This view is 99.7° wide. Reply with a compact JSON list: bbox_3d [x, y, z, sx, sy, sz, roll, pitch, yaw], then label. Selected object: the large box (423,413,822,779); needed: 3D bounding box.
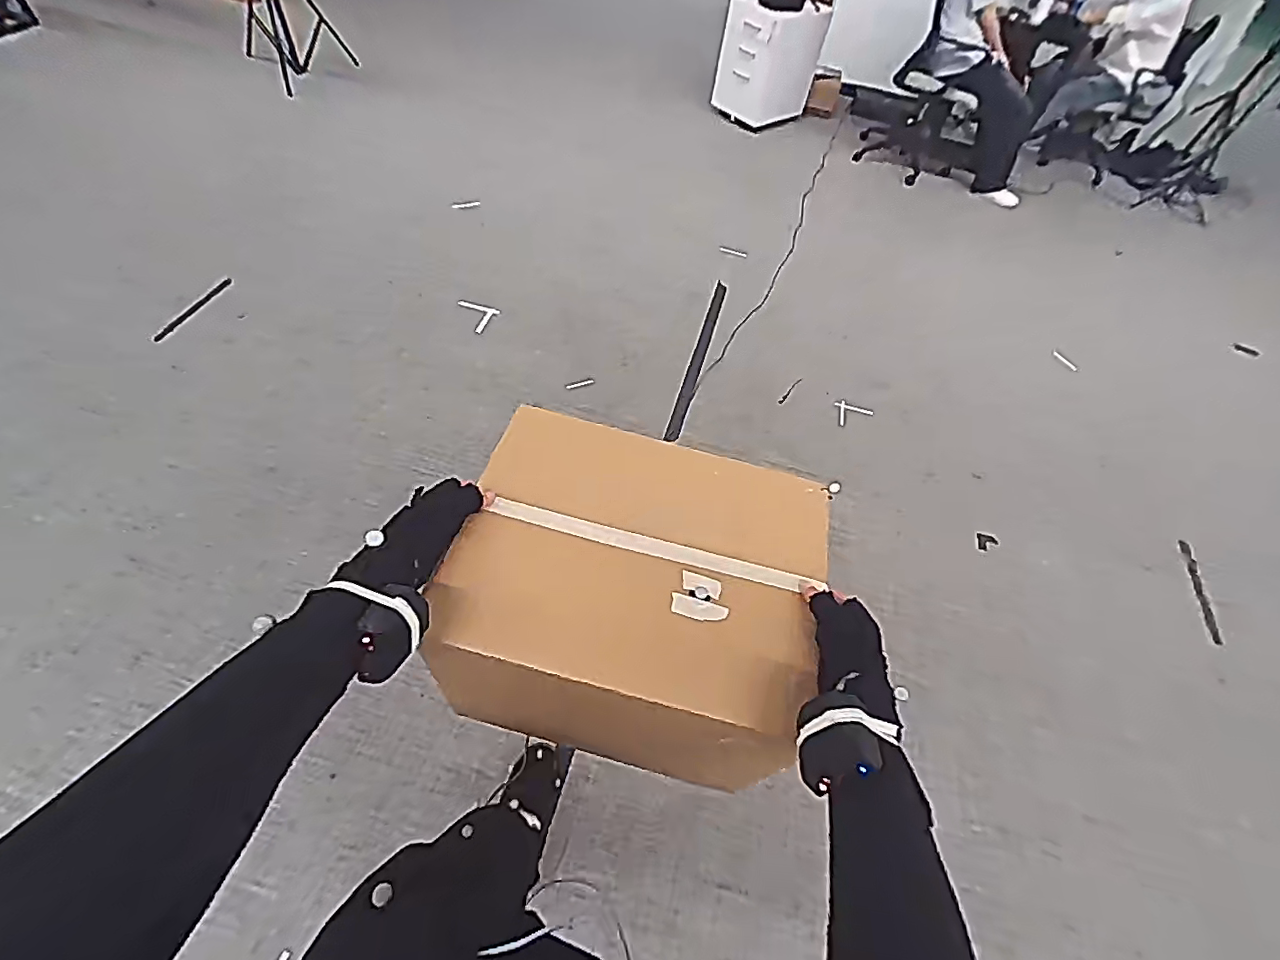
[{"bbox_3d":[-0.011,0.163,0.726,0.408,0.320,0.320,15,53,2],"label":"large box"}]
